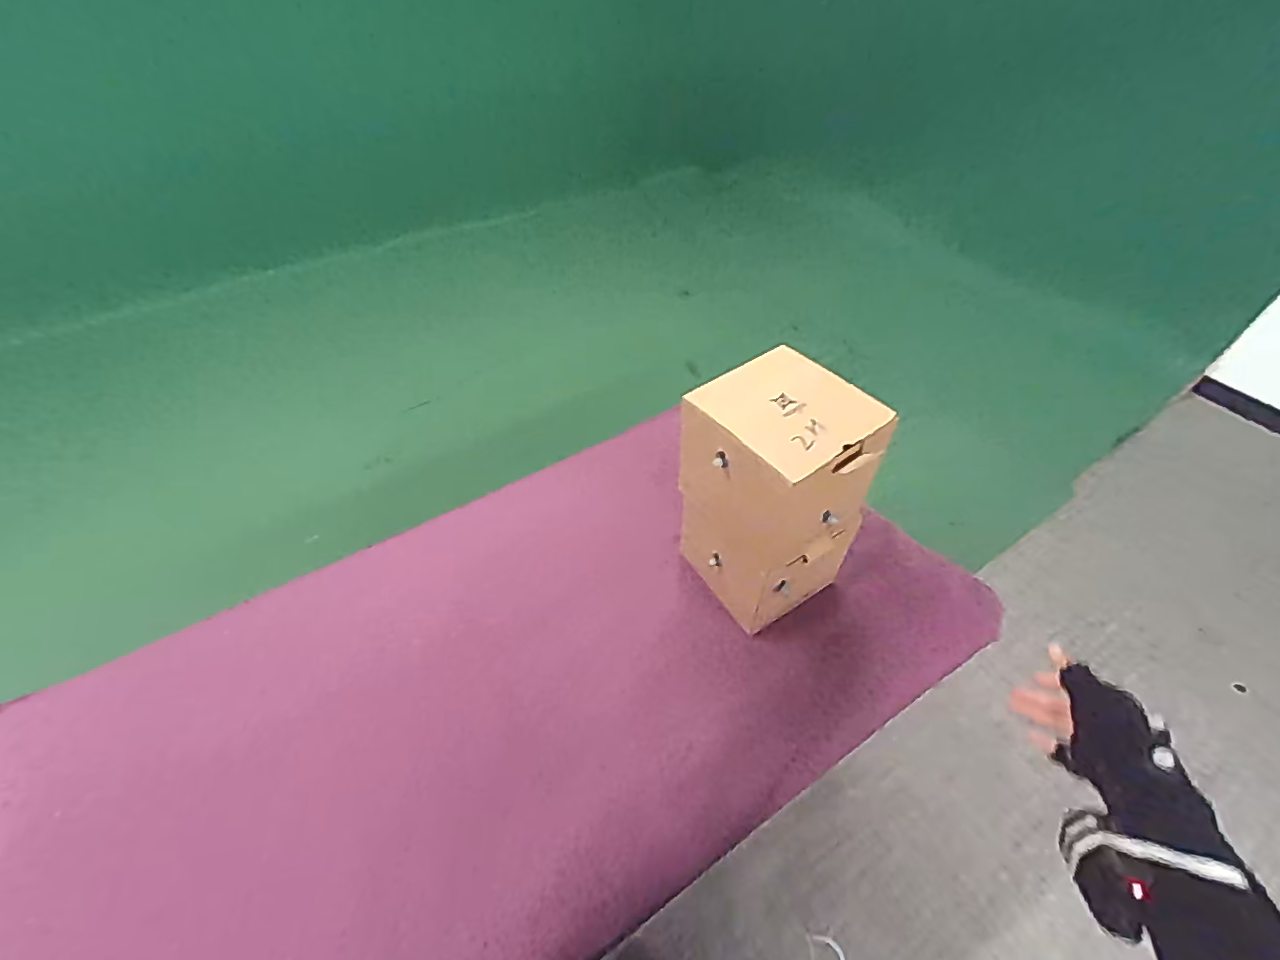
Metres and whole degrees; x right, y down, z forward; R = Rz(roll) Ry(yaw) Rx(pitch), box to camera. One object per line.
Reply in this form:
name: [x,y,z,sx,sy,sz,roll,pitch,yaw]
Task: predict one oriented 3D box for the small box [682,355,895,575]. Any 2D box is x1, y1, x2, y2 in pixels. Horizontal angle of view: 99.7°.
small box: [0.164,-0.018,0.663,0.168,0.176,0.179,-30,54,-22]
